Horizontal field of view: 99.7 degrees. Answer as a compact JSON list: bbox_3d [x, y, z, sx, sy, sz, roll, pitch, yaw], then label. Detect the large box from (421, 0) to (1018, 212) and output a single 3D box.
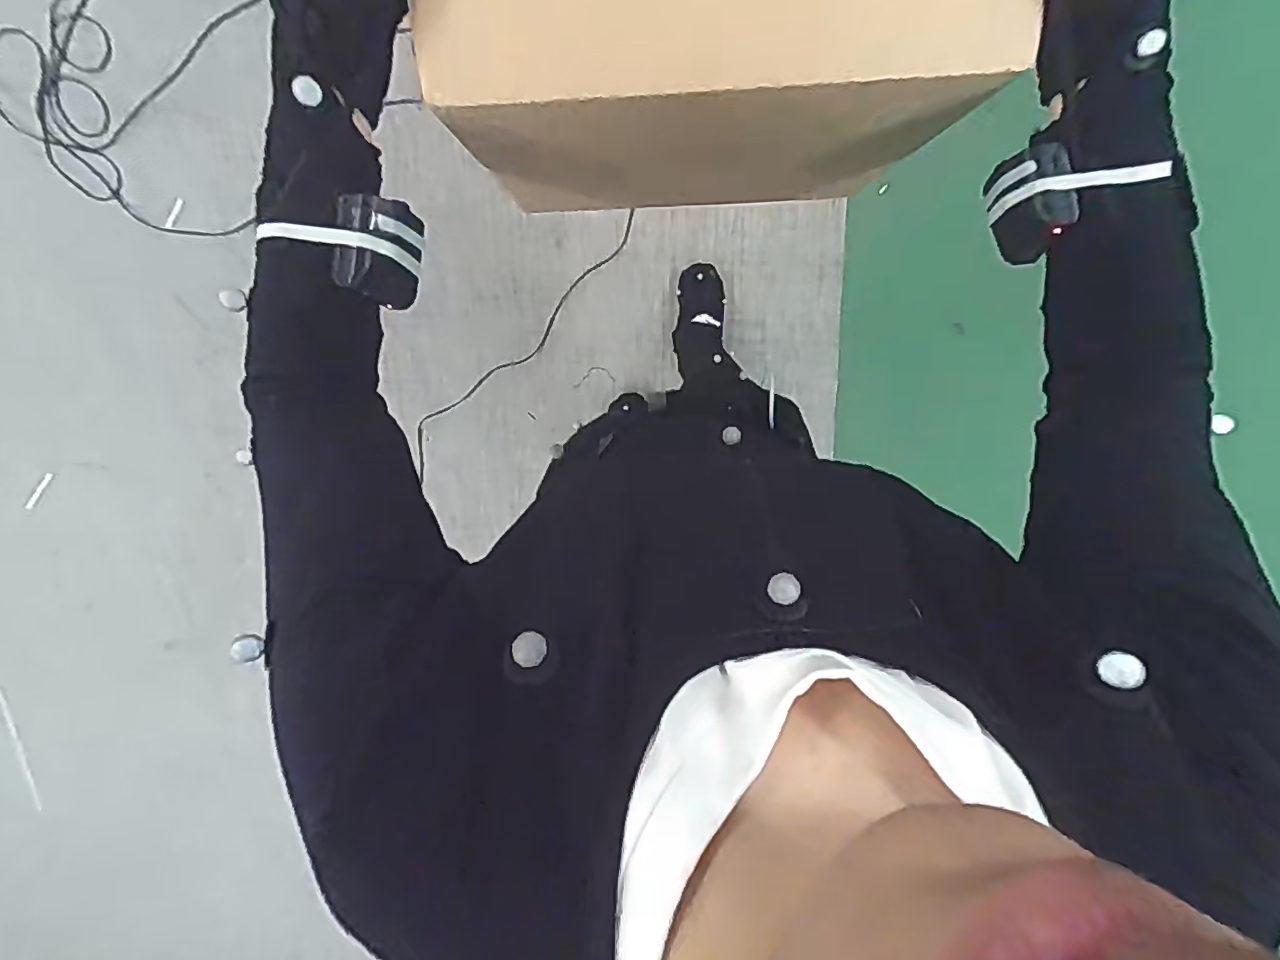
[{"bbox_3d":[0.044,-0.452,0.479,0.408,0.320,0.320,-3,104,1],"label":"large box"}]
